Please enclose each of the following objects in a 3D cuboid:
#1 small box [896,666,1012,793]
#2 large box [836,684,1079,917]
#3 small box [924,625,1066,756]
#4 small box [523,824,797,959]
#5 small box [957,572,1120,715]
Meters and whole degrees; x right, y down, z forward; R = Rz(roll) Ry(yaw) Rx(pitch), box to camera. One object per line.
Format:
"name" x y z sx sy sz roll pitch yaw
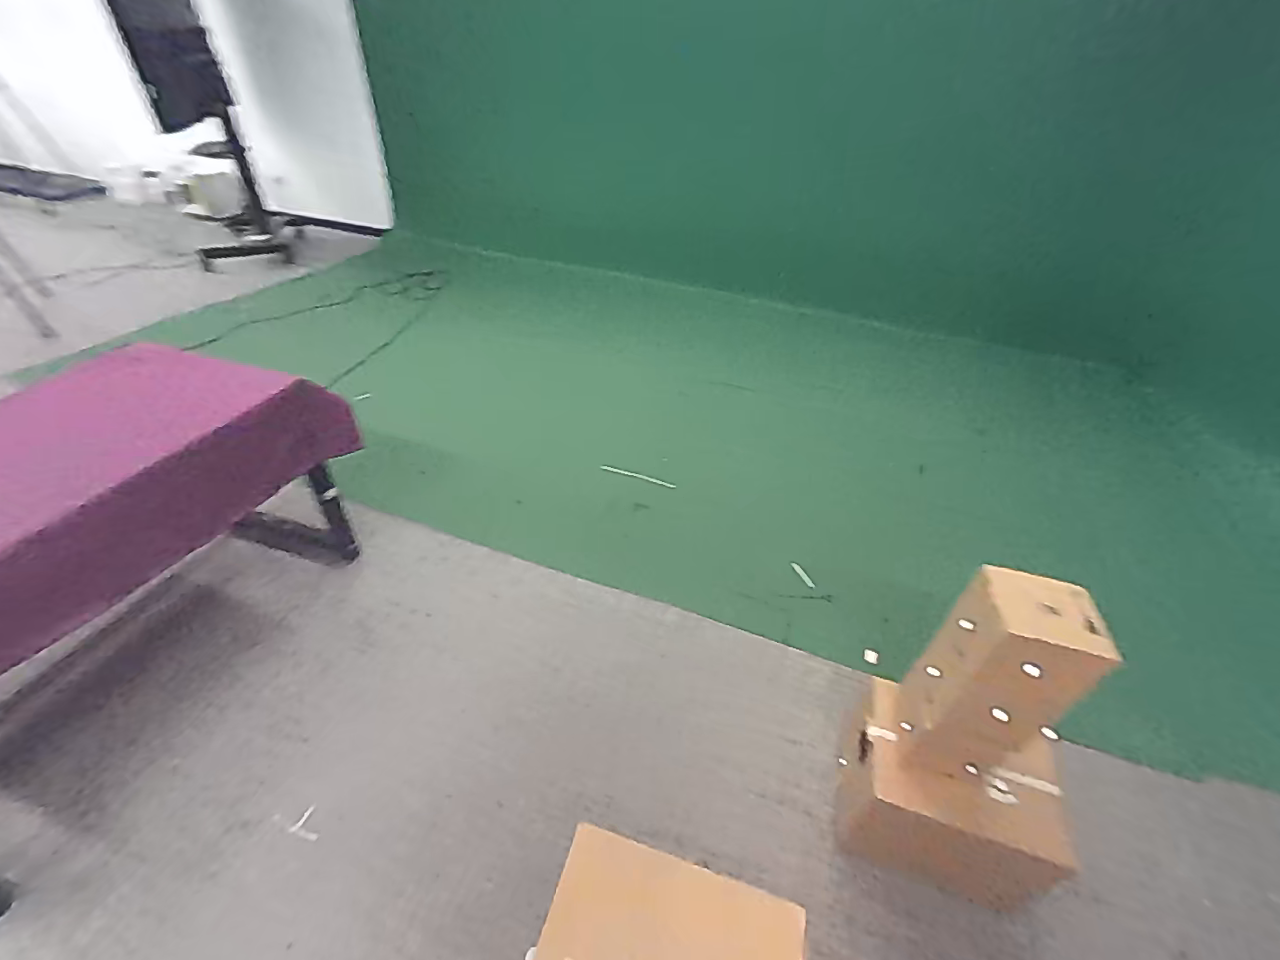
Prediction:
"small box" 0.684 0.556 1.203 0.168 0.176 0.179 15 38 12
"large box" 0.729 0.774 1.325 0.408 0.320 0.320 16 40 12
"small box" 0.702 0.430 1.099 0.179 0.176 0.168 13 39 8
"small box" 0.000 0.393 0.397 0.179 0.176 0.168 14 43 10
"small box" 0.711 0.302 0.996 0.179 0.176 0.168 13 39 11
